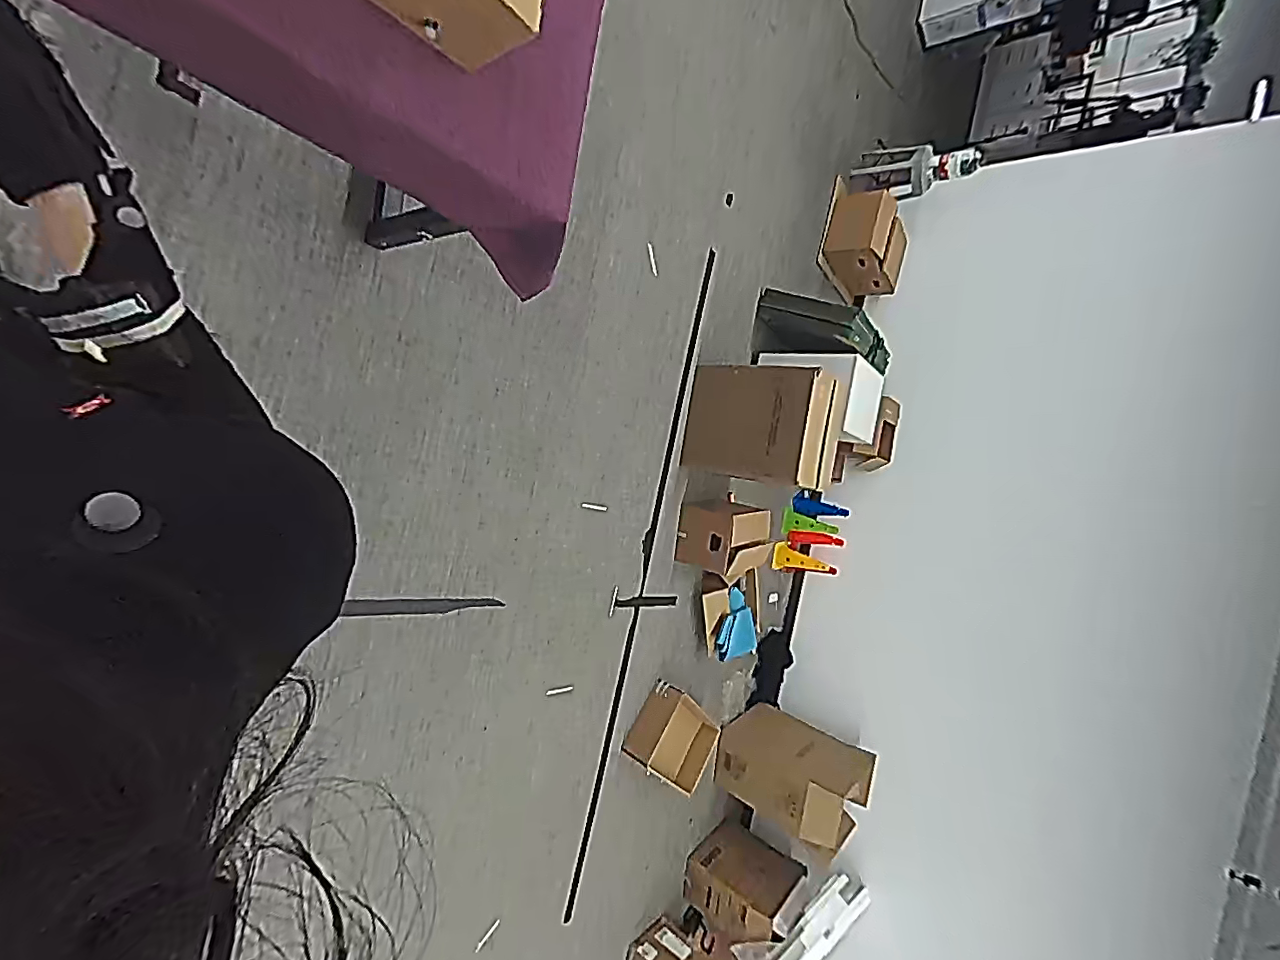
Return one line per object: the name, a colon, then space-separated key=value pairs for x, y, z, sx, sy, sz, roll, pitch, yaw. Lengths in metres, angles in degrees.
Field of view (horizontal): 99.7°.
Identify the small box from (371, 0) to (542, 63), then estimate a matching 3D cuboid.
small box: x=-0.242 y=-0.692 z=0.707 sx=0.179 sy=0.176 sz=0.168 roll=5 pitch=95 yaw=-52
